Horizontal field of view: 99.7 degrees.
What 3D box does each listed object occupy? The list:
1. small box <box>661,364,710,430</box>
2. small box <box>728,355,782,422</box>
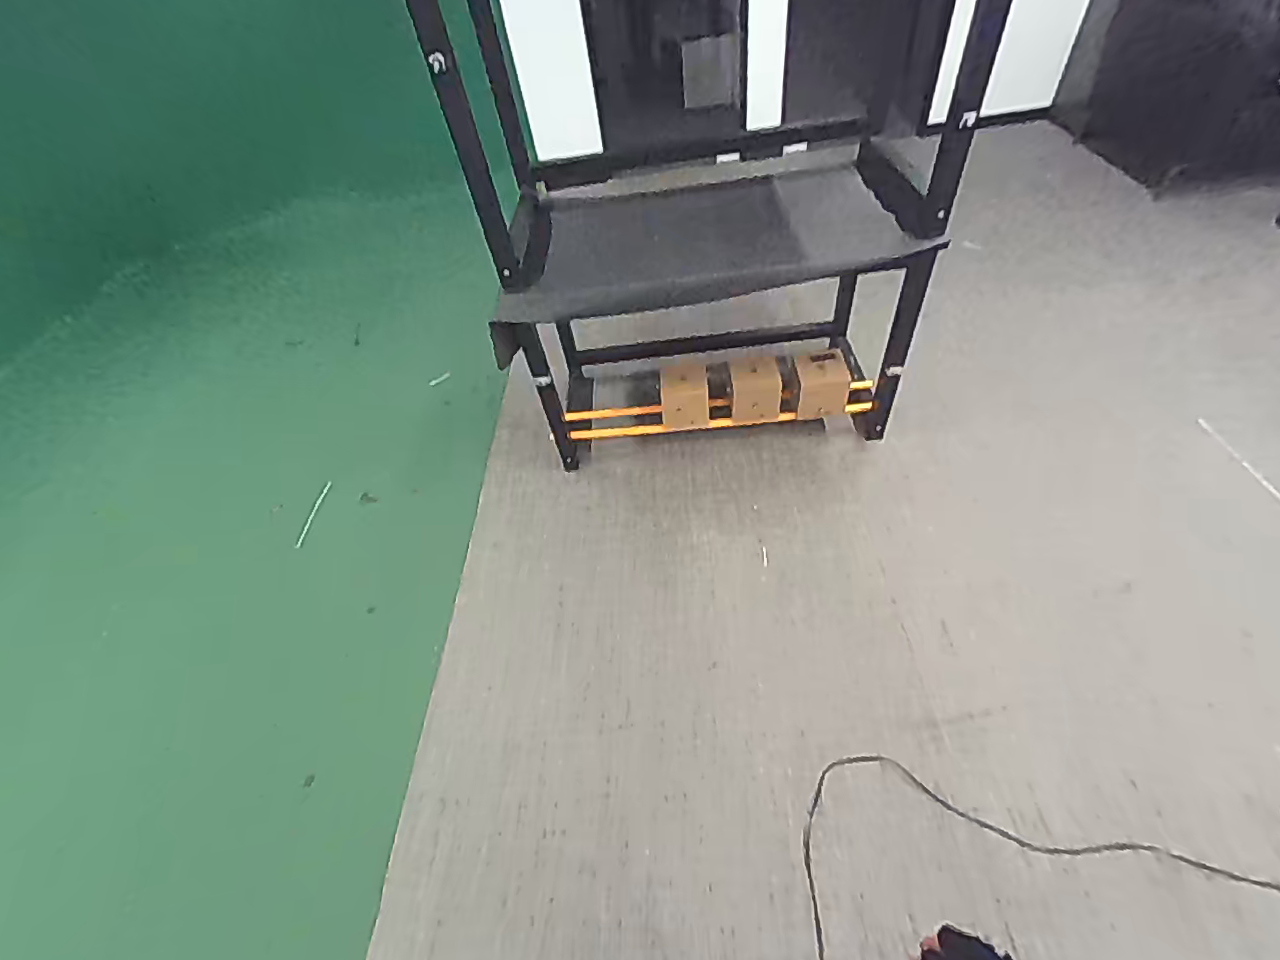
[{"bbox_3d":[0.166,-0.295,1.963,0.168,0.176,0.179,-4,50,5],"label":"small box"},{"bbox_3d":[0.410,-0.322,1.944,0.168,0.176,0.179,-5,49,5],"label":"small box"}]
